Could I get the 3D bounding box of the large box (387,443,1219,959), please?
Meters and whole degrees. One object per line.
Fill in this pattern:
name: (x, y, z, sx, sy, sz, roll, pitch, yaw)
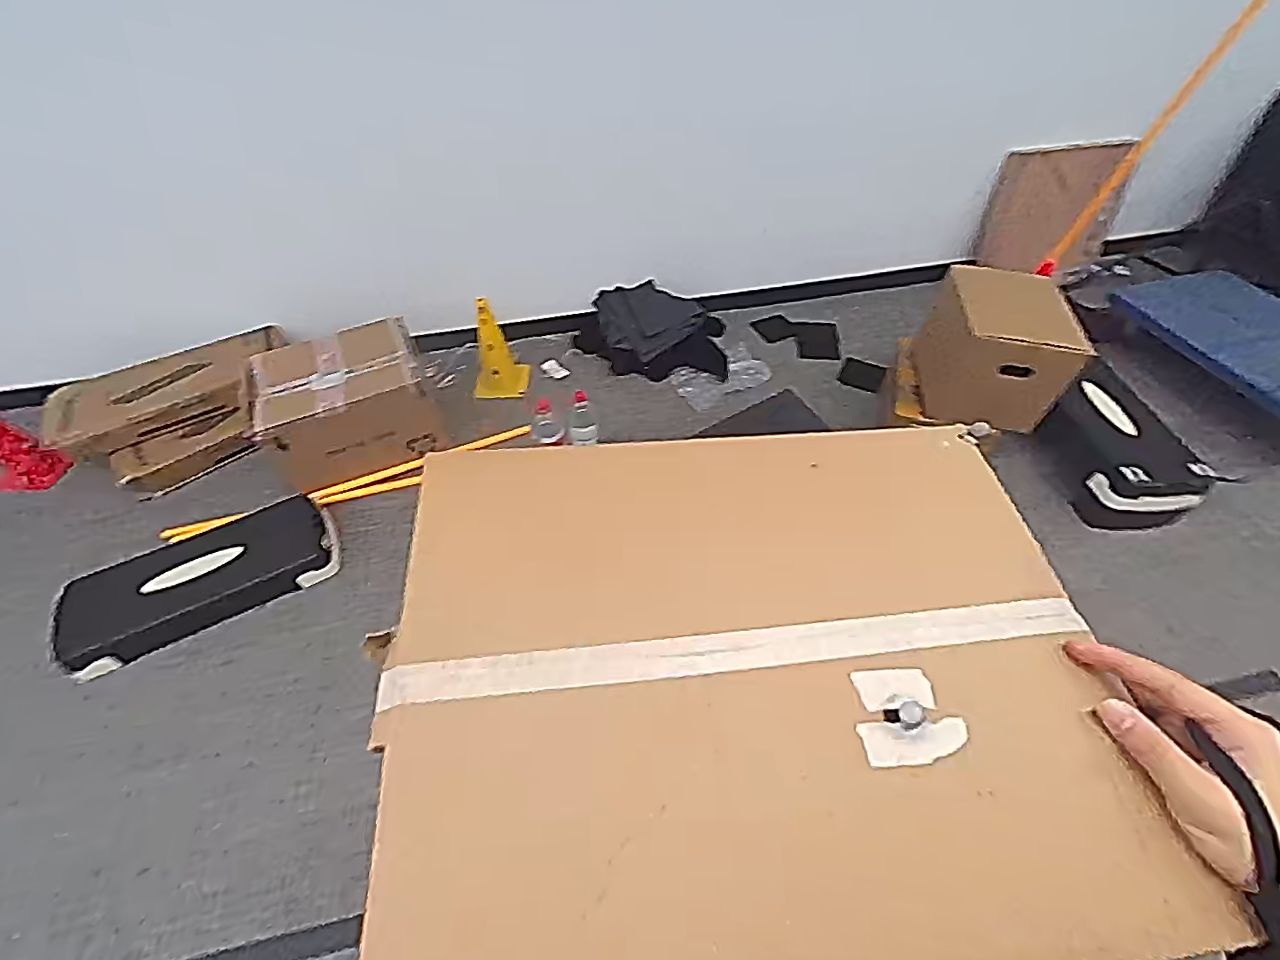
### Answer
large box: (0.059, 0.193, 0.442, 0.408, 0.320, 0.320, -3, 56, -8)
